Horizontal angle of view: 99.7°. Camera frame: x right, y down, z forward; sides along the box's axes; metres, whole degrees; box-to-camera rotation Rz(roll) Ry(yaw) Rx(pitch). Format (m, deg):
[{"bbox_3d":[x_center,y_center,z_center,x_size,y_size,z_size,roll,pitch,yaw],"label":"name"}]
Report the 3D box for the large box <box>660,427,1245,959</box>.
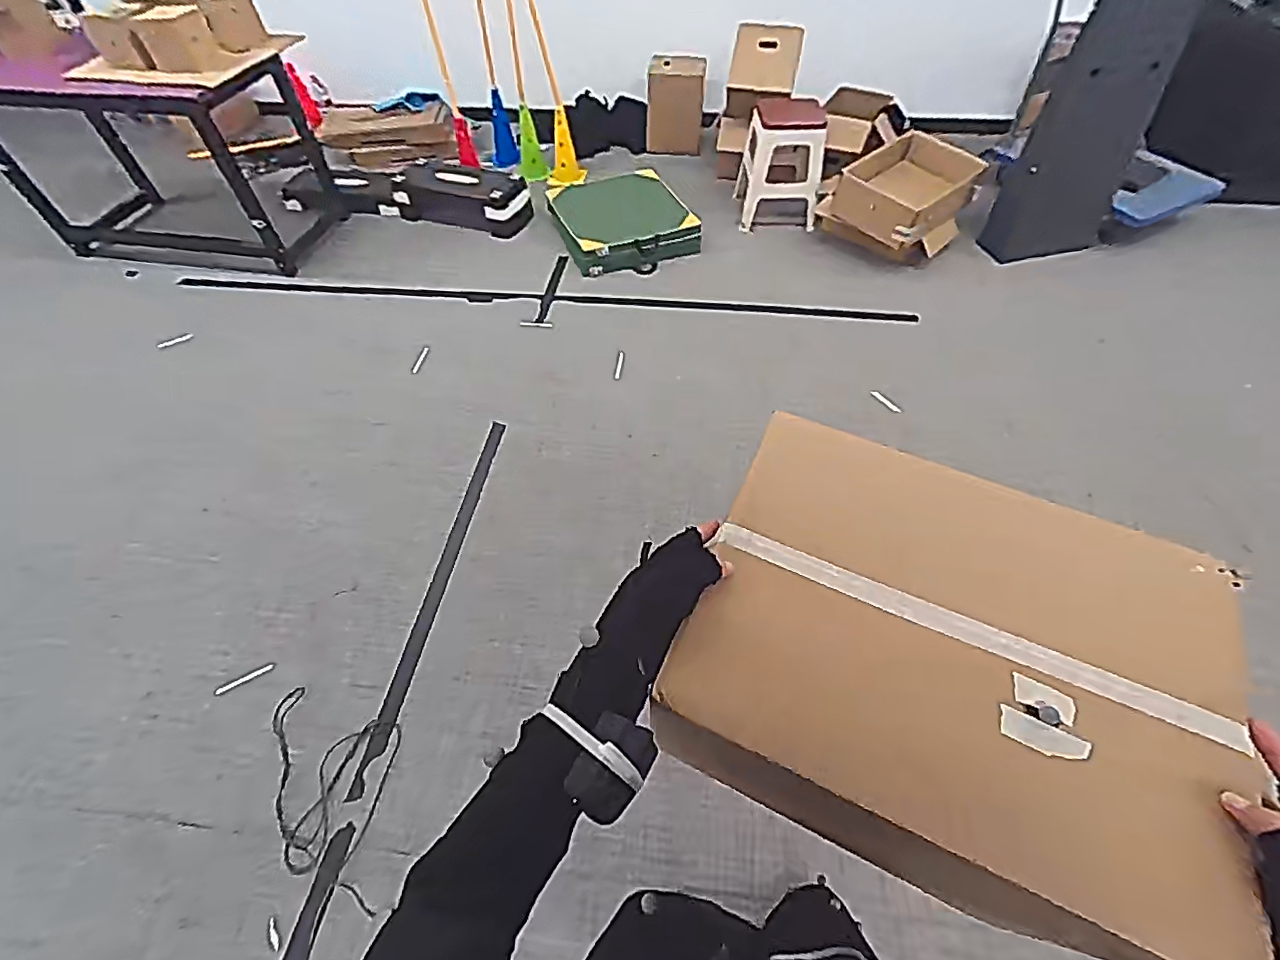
[{"bbox_3d":[0.261,0.205,0.579,0.408,0.320,0.320,22,62,14],"label":"large box"}]
